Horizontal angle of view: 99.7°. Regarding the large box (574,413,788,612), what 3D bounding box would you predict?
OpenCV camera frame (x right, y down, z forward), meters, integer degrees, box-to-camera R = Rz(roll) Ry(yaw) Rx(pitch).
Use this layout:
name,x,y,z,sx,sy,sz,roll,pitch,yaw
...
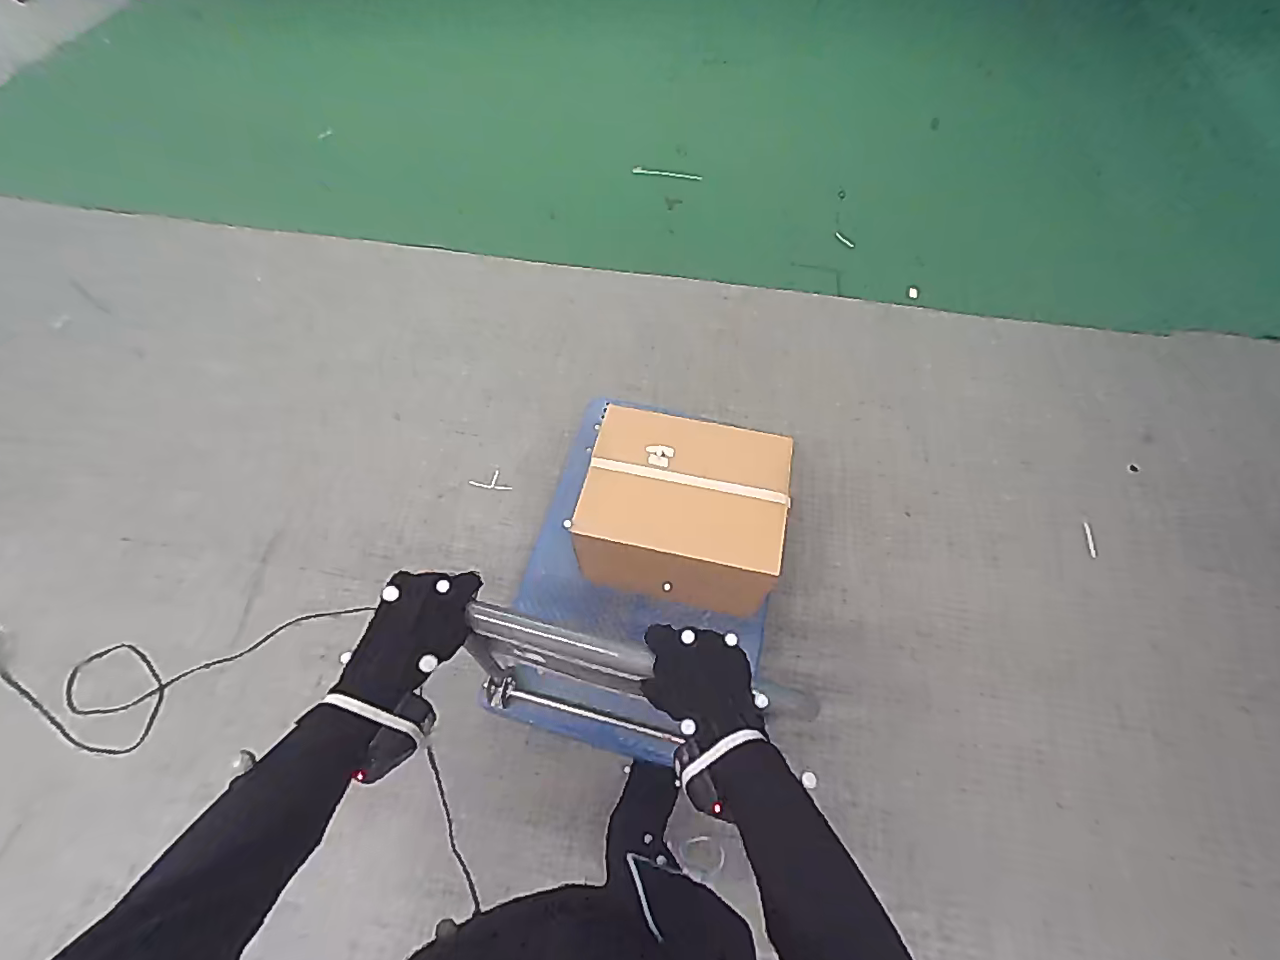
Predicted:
name,x,y,z,sx,sy,sz,roll,pitch,yaw
large box,0.098,0.083,1.232,0.408,0.320,0.320,10,62,7
